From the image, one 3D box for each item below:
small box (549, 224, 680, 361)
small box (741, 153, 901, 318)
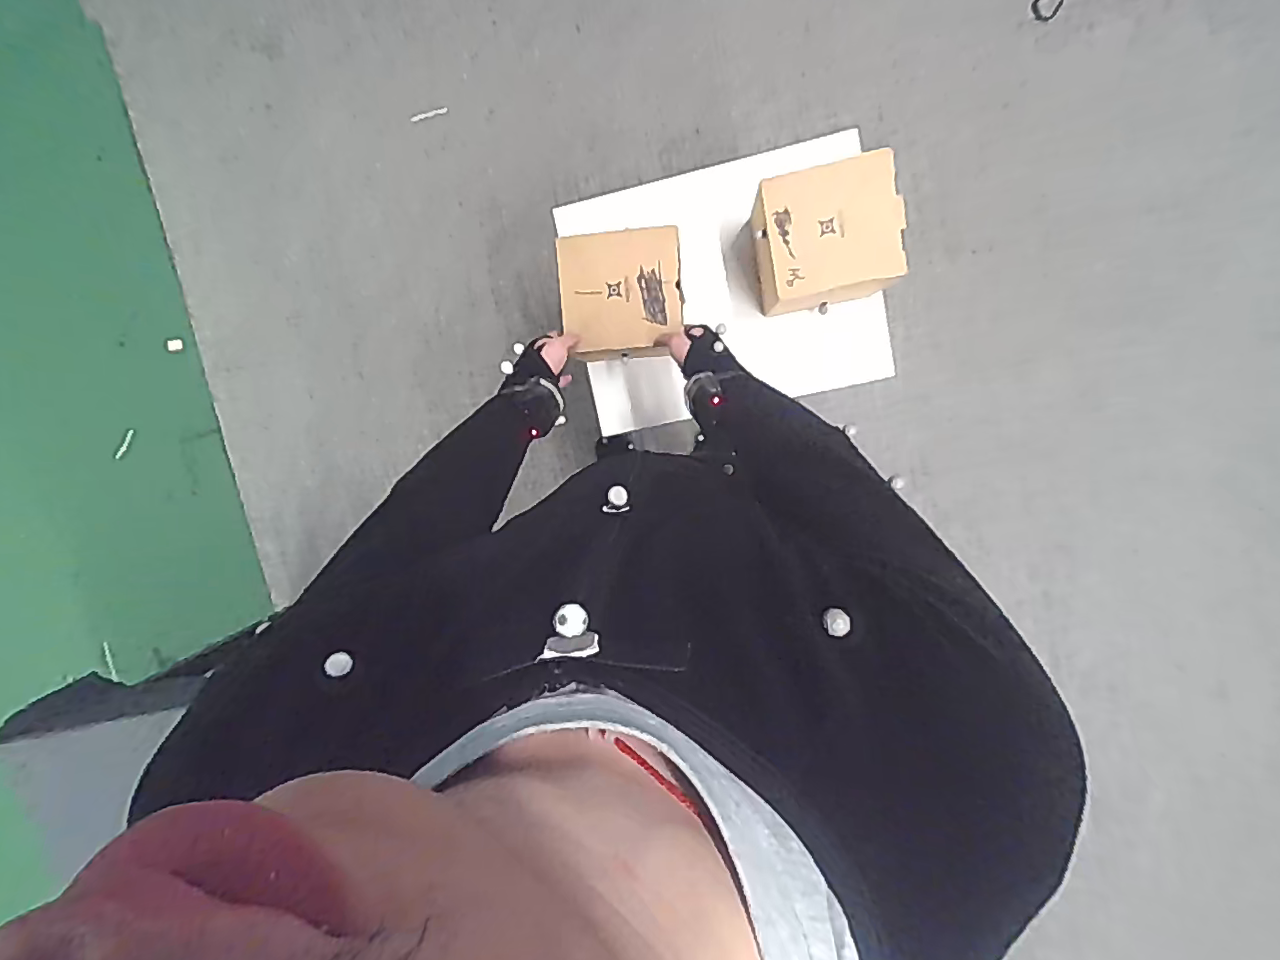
[{"bbox_3d":[-0.033,-0.277,0.831,0.179,0.176,0.168,-3,97,4],"label":"small box"},{"bbox_3d":[0.258,-0.349,0.803,0.179,0.176,0.168,-10,97,5],"label":"small box"}]
